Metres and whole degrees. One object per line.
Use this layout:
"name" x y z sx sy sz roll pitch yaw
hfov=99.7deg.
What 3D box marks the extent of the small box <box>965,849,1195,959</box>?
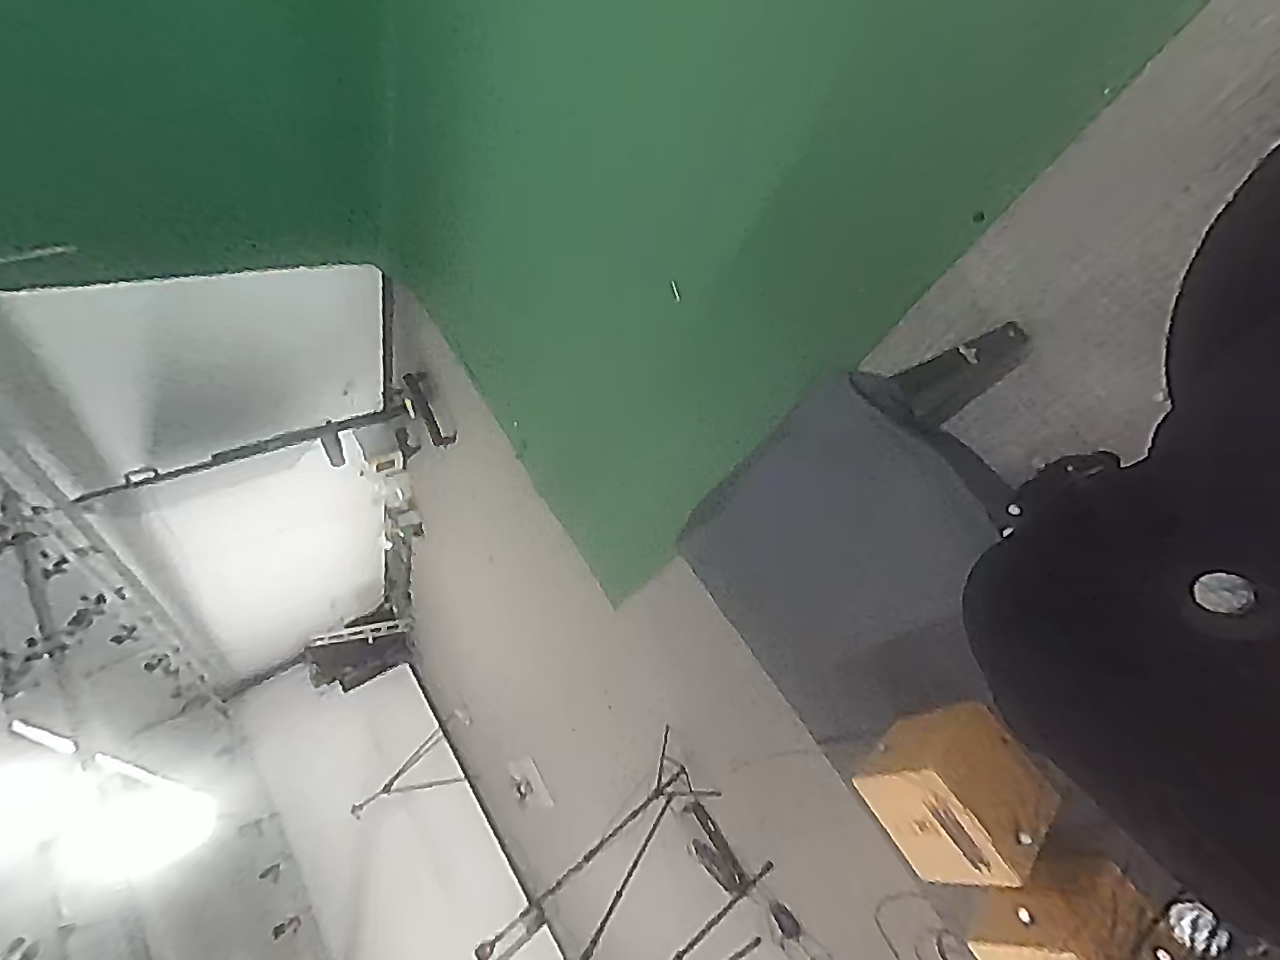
"small box" 0.619 0.660 0.765 0.168 0.176 0.179 53 142 18
